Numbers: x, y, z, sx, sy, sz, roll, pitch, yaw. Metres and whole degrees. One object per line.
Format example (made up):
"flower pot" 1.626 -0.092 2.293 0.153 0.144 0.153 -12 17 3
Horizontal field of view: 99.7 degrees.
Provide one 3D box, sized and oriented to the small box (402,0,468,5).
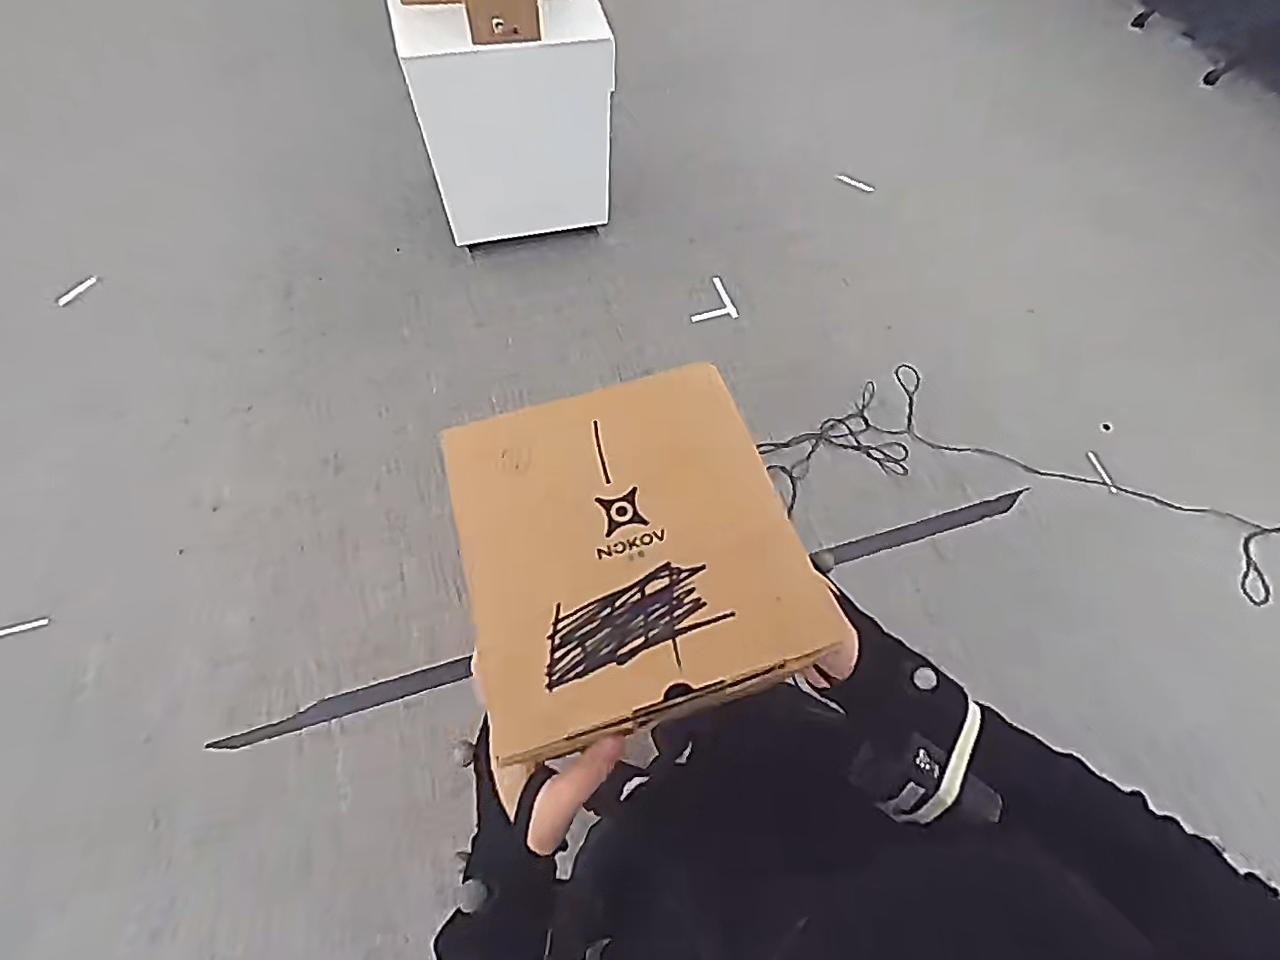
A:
"small box" -0.511 -1.266 1.279 0.168 0.176 0.179 -11 69 -9
